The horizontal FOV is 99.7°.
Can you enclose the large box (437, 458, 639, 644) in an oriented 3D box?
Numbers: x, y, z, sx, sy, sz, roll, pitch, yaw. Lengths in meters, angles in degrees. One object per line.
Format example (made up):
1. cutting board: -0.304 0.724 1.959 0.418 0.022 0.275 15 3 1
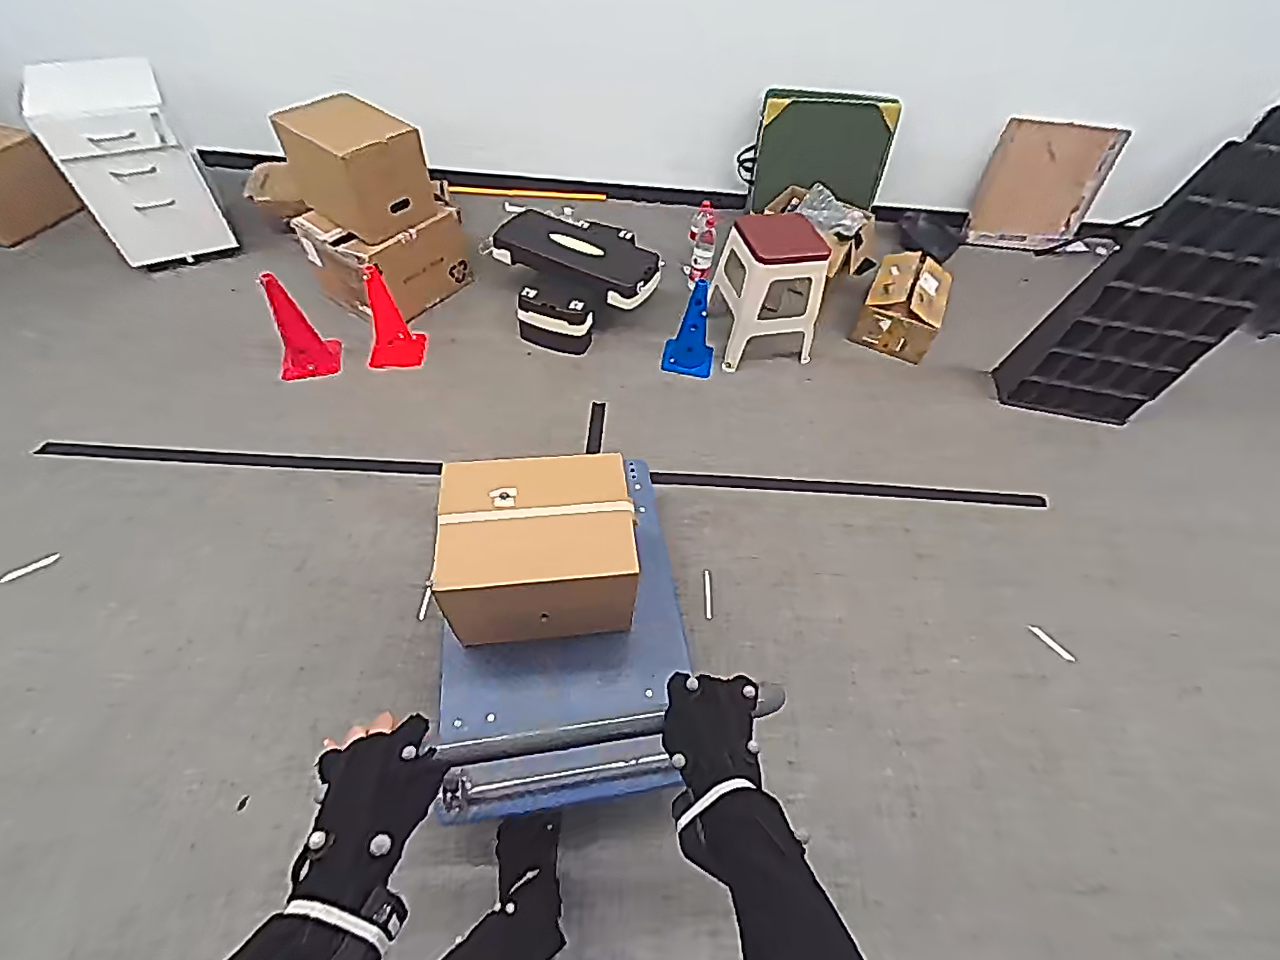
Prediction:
1. large box: -0.225 0.173 1.278 0.408 0.320 0.320 -4 54 -7
